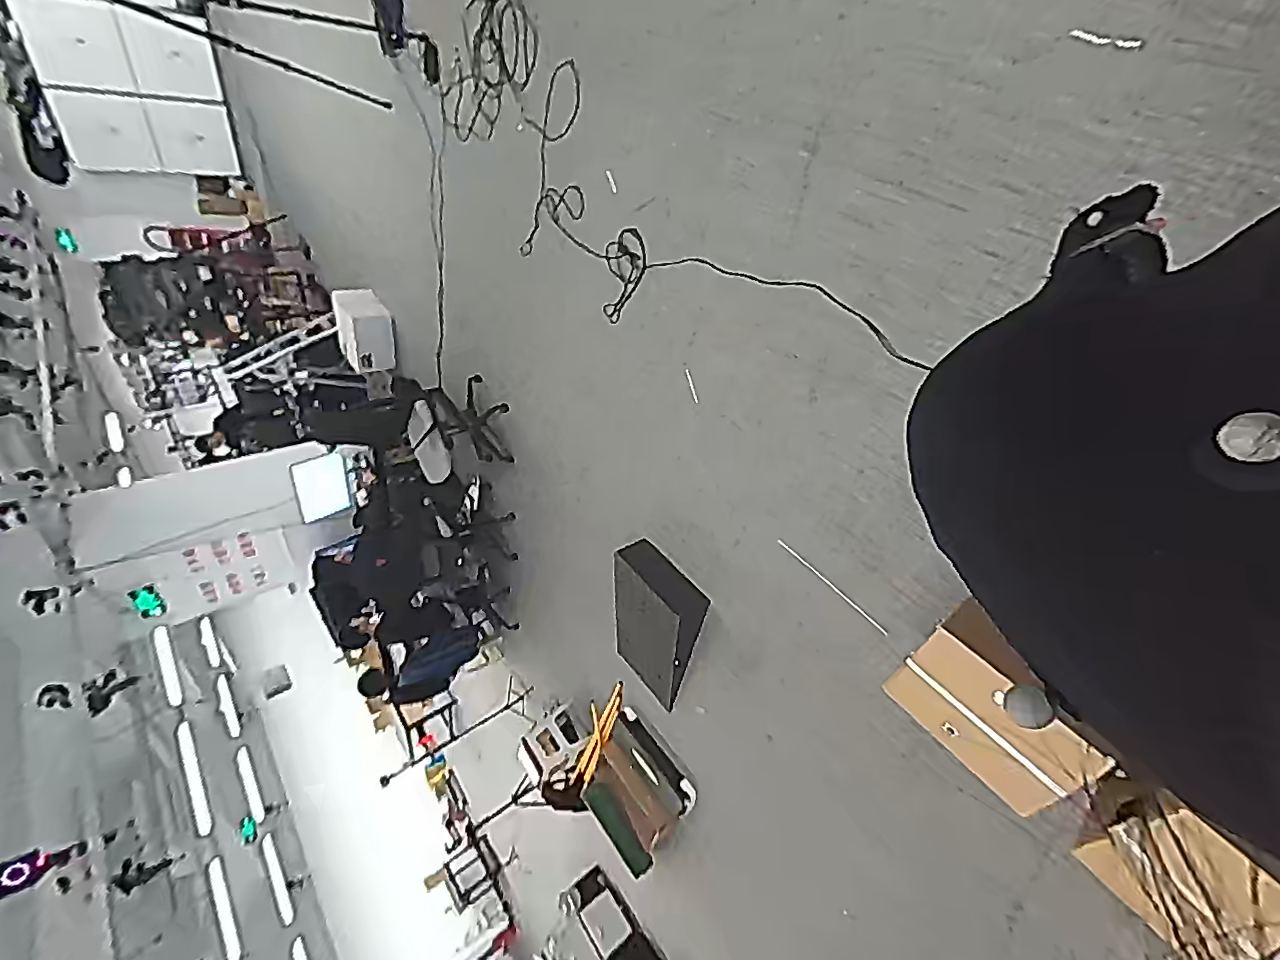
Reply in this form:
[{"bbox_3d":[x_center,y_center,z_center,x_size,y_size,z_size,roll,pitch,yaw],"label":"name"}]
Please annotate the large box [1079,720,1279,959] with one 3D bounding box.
[{"bbox_3d":[1.265,0.807,1.129,0.408,0.320,0.320,45,139,29],"label":"large box"}]
